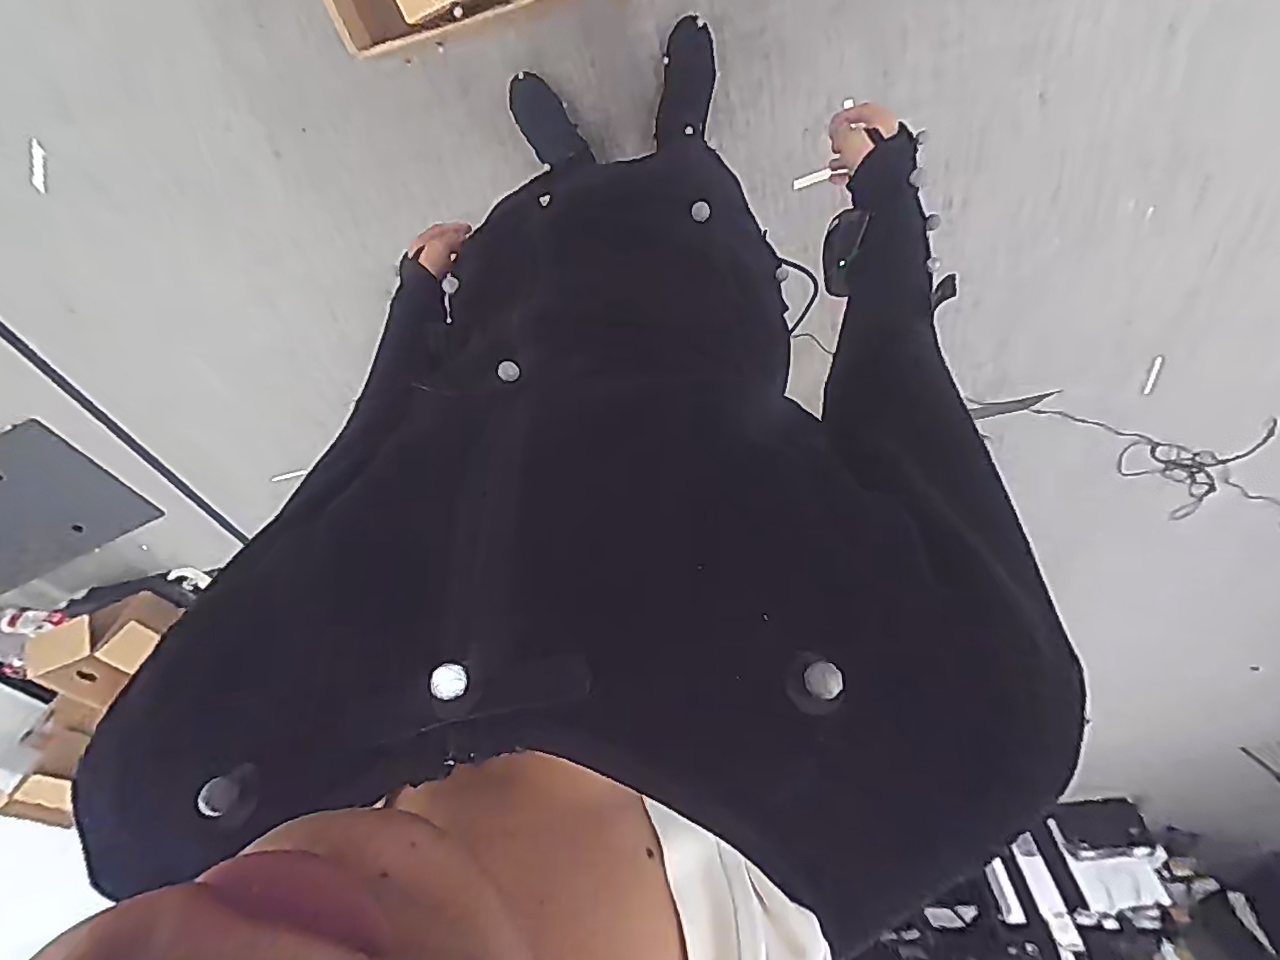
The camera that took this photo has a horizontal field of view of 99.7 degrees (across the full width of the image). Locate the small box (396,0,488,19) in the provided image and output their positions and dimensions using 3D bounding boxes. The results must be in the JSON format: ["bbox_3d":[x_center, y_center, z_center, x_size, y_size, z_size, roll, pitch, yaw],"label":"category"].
[{"bbox_3d":[-0.256,-0.731,0.695,0.168,0.176,0.179,-14,129,13],"label":"small box"}]
